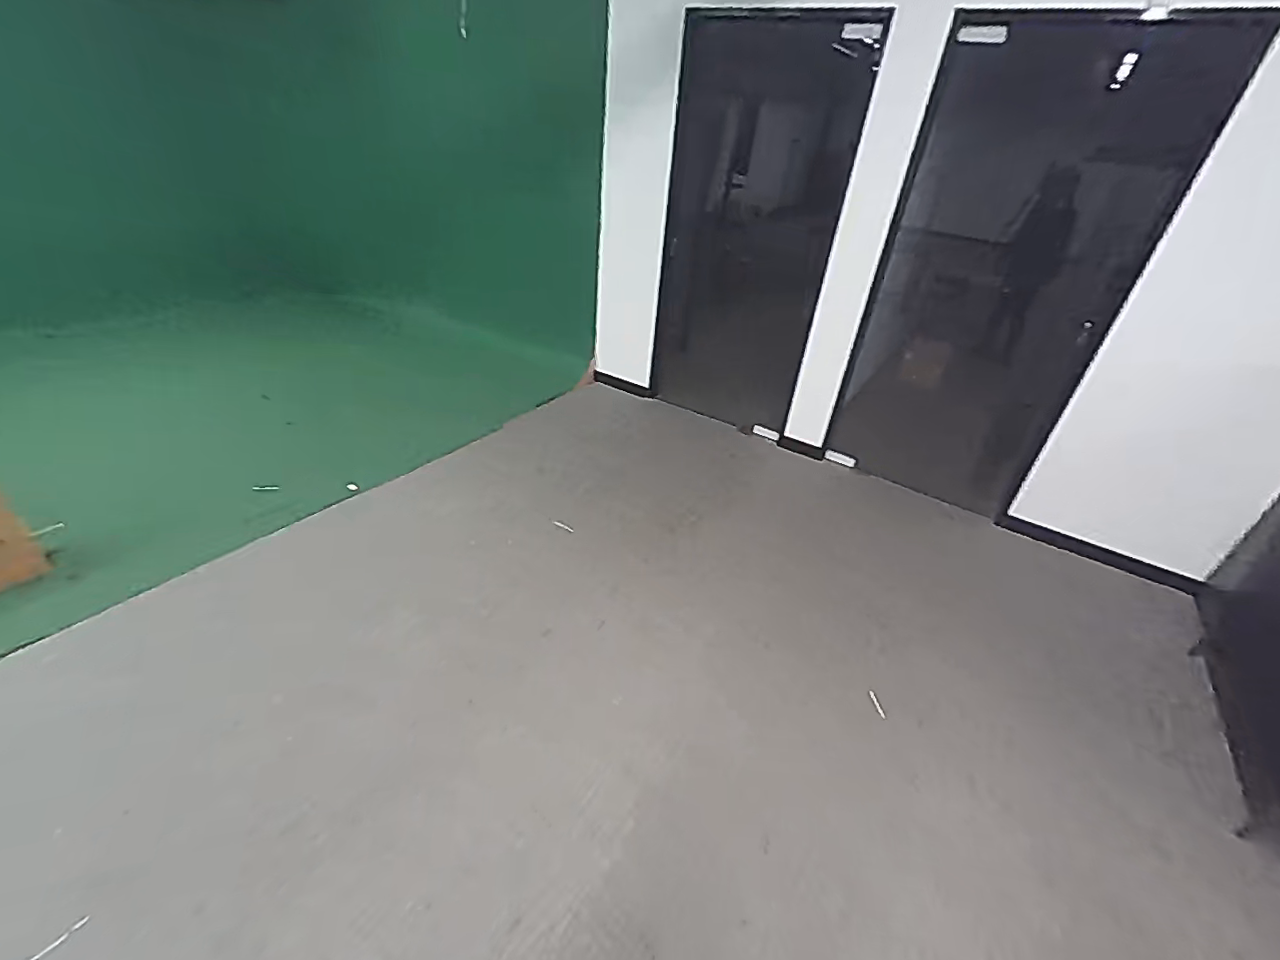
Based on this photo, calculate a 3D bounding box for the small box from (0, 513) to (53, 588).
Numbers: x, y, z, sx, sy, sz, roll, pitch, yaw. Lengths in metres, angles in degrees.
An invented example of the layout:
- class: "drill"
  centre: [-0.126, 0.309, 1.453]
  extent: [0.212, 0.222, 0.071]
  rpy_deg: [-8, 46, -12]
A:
- class: "small box"
  centre: [-2.238, 0.253, 1.913]
  extent: [0.168, 0.176, 0.179]
  rpy_deg: [28, 39, 28]
